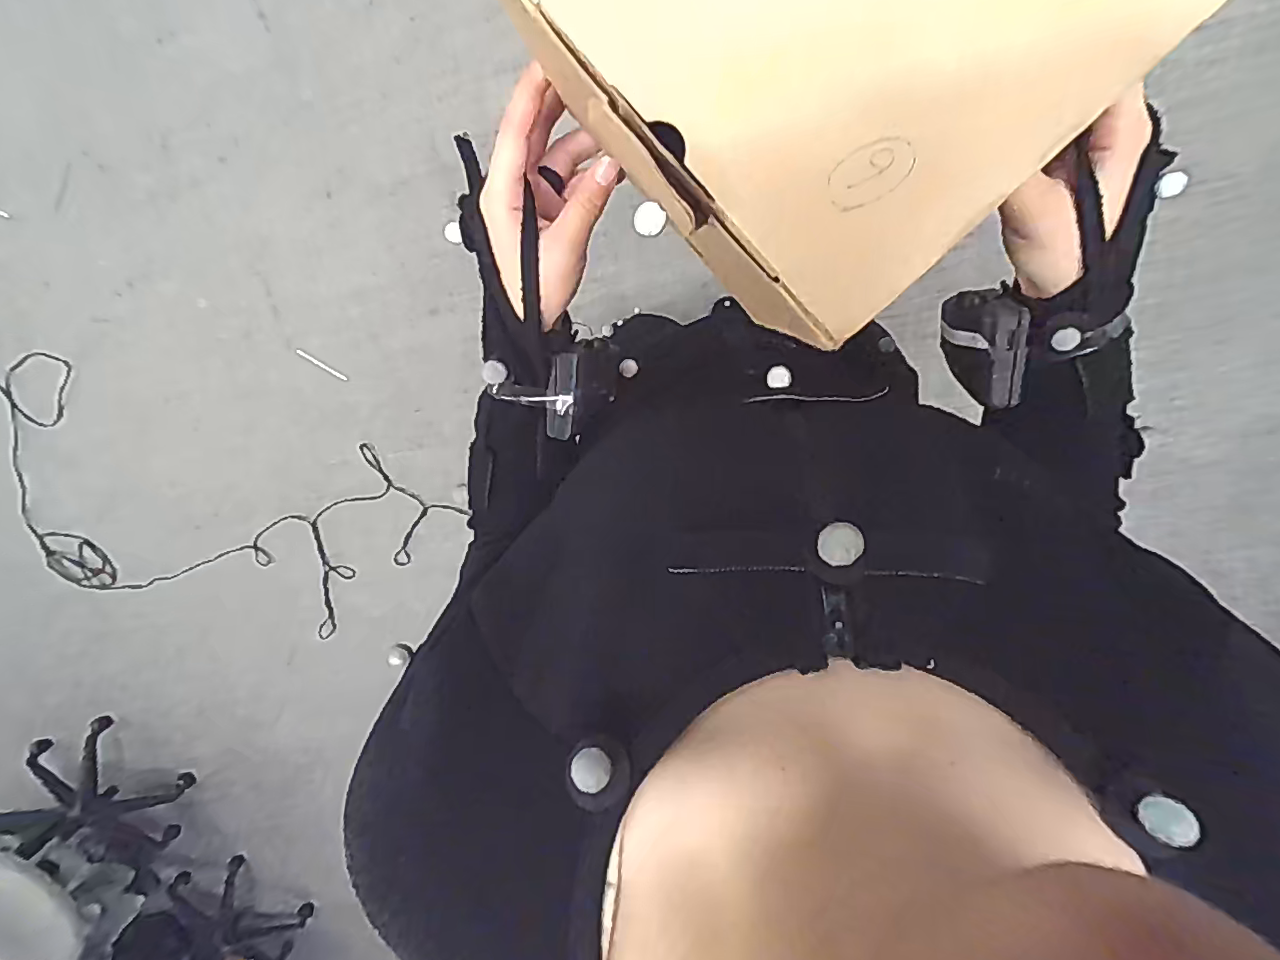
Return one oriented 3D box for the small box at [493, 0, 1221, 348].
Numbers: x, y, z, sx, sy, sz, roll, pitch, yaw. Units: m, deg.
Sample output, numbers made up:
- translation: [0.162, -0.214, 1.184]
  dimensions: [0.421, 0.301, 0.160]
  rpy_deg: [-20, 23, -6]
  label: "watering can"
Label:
- translation: [0.074, -0.181, 0.230]
  dimensions: [0.168, 0.176, 0.179]
  rpy_deg: [44, 107, -11]
  label: "small box"
